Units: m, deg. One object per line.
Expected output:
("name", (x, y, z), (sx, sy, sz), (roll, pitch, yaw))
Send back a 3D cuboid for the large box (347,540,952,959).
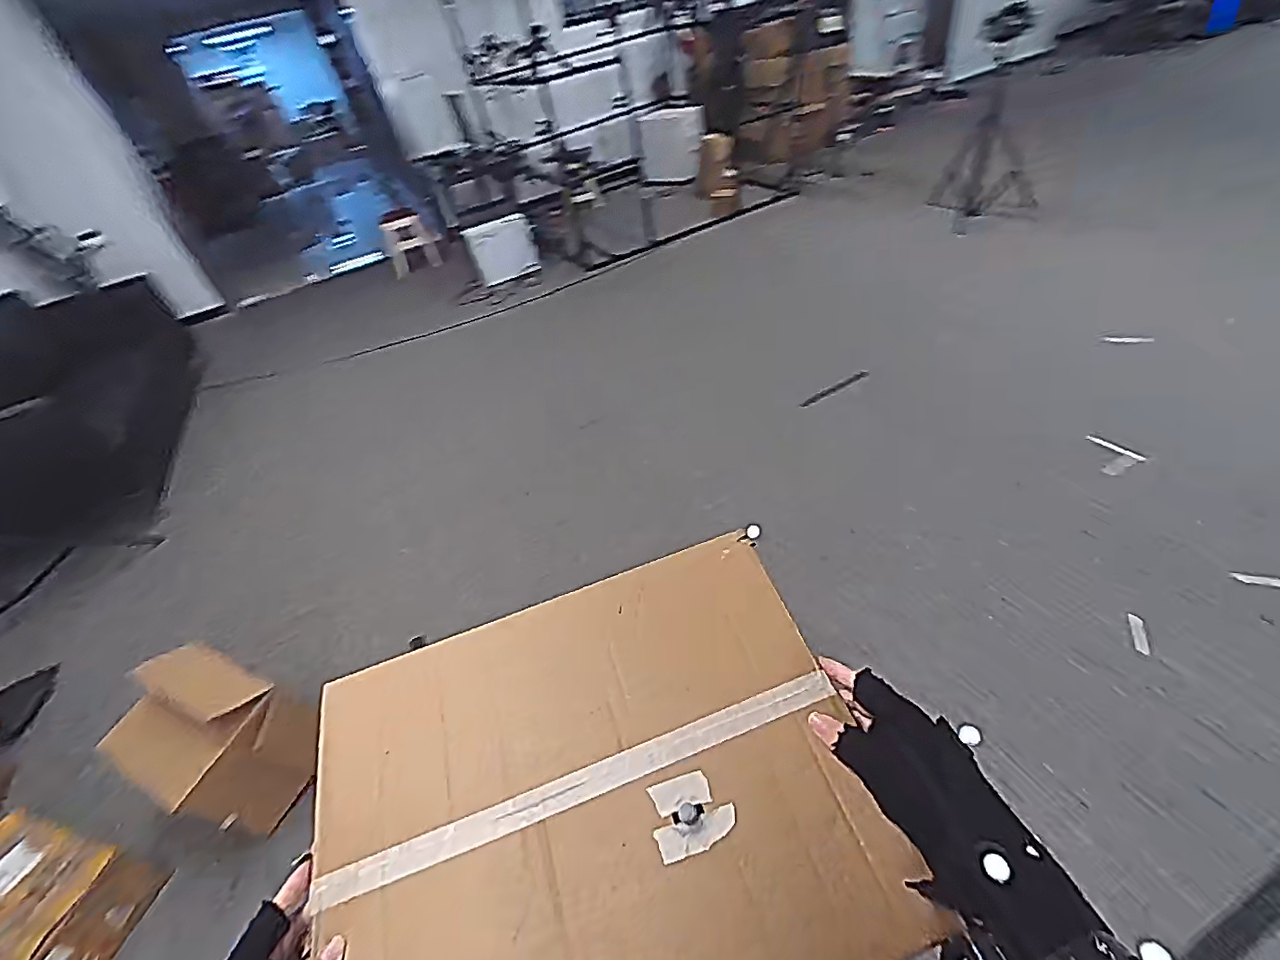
("large box", (-0.009, 0.324, 0.534), (0.408, 0.320, 0.320), (-19, 52, -5))
